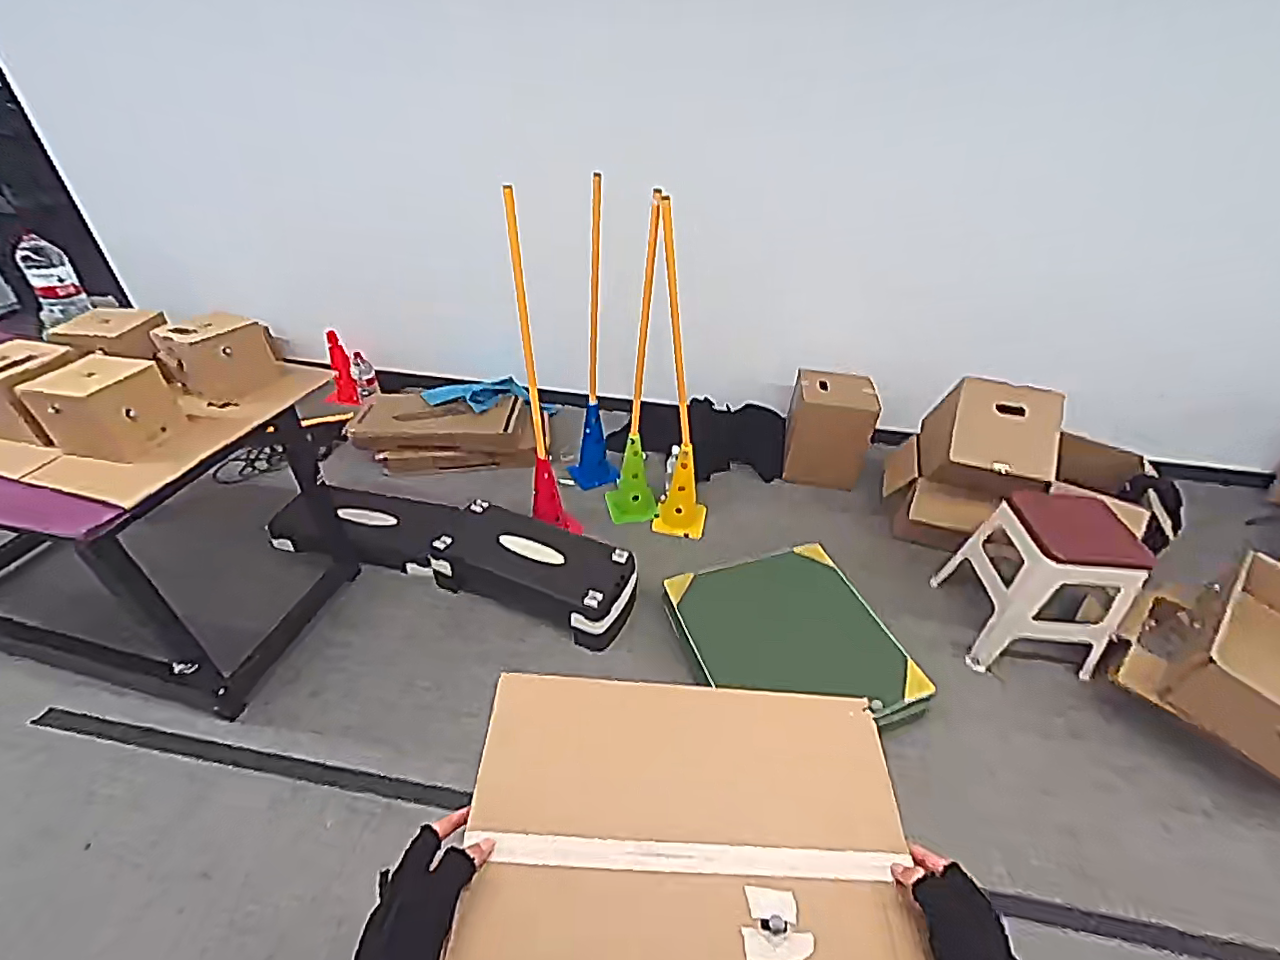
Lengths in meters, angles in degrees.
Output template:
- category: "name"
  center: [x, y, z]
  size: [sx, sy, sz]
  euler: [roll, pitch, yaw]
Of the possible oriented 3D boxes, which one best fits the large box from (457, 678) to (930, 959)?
- category: "large box"
  center: [0.036, 0.446, 0.604]
  size: [0.408, 0.320, 0.320]
  euler: [5, 46, -3]
